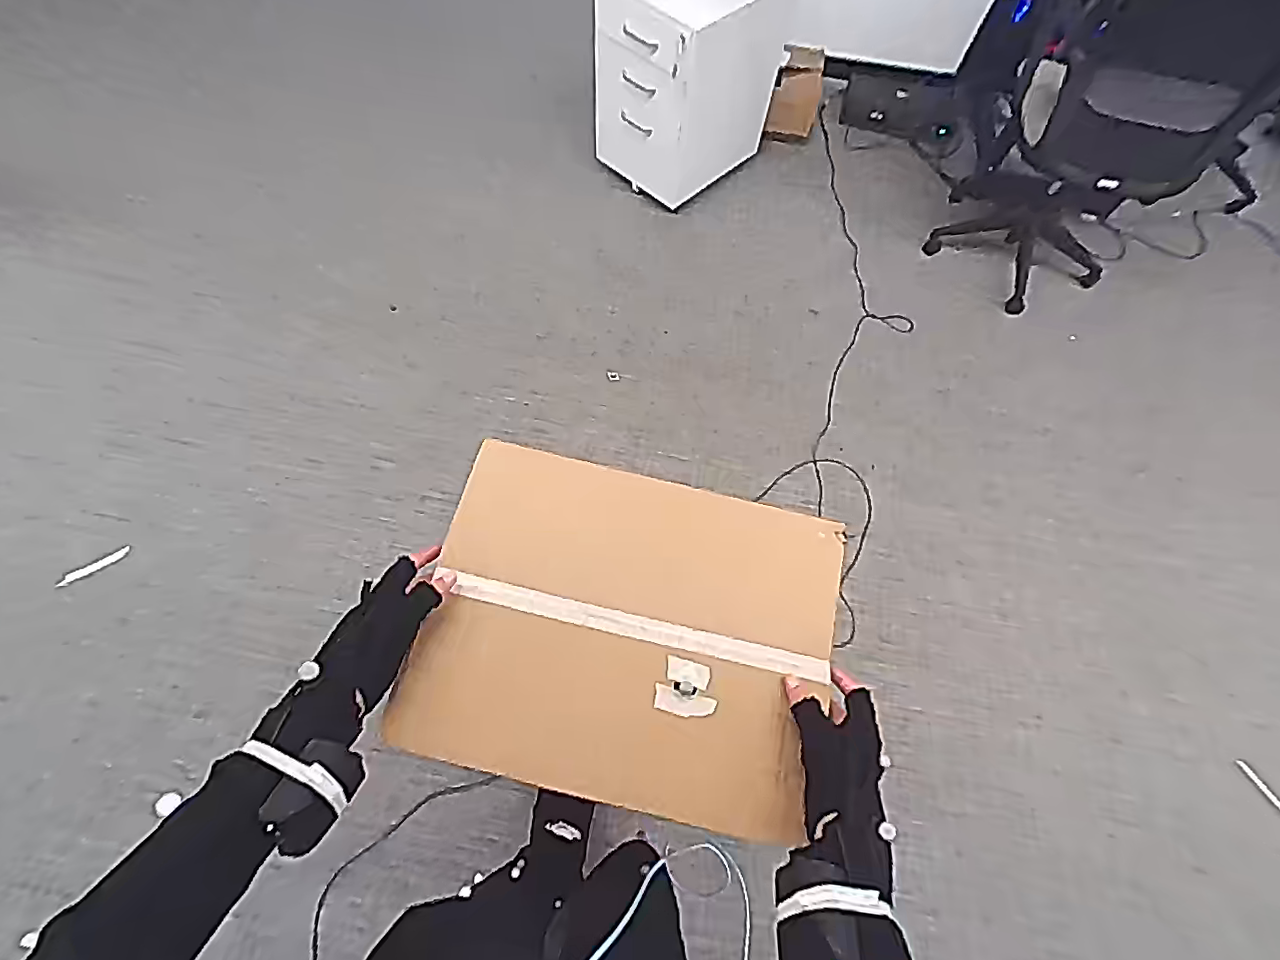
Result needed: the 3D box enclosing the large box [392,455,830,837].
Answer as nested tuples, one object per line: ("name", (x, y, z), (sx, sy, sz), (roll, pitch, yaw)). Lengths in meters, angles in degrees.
("large box", (-0.022, 0.202, 0.696), (0.408, 0.320, 0.320), (14, 70, 1))
